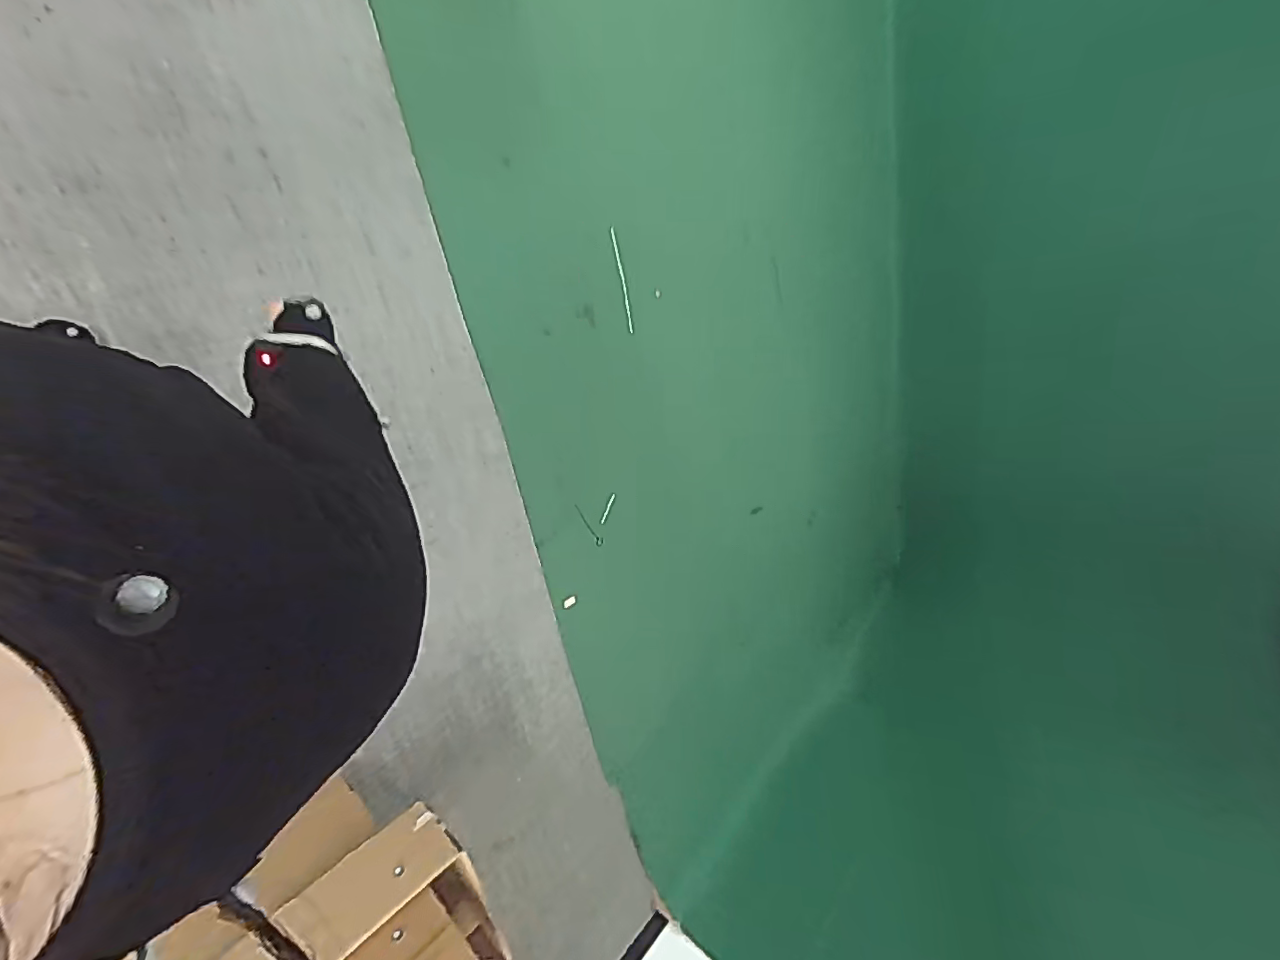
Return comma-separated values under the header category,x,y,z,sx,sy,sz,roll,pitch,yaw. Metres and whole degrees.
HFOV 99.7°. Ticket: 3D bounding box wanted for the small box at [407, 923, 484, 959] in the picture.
category,x,y,z,sx,sy,sz,roll,pitch,yaw
small box,-0.358,0.980,0.998,0.168,0.176,0.179,-28,117,-39
